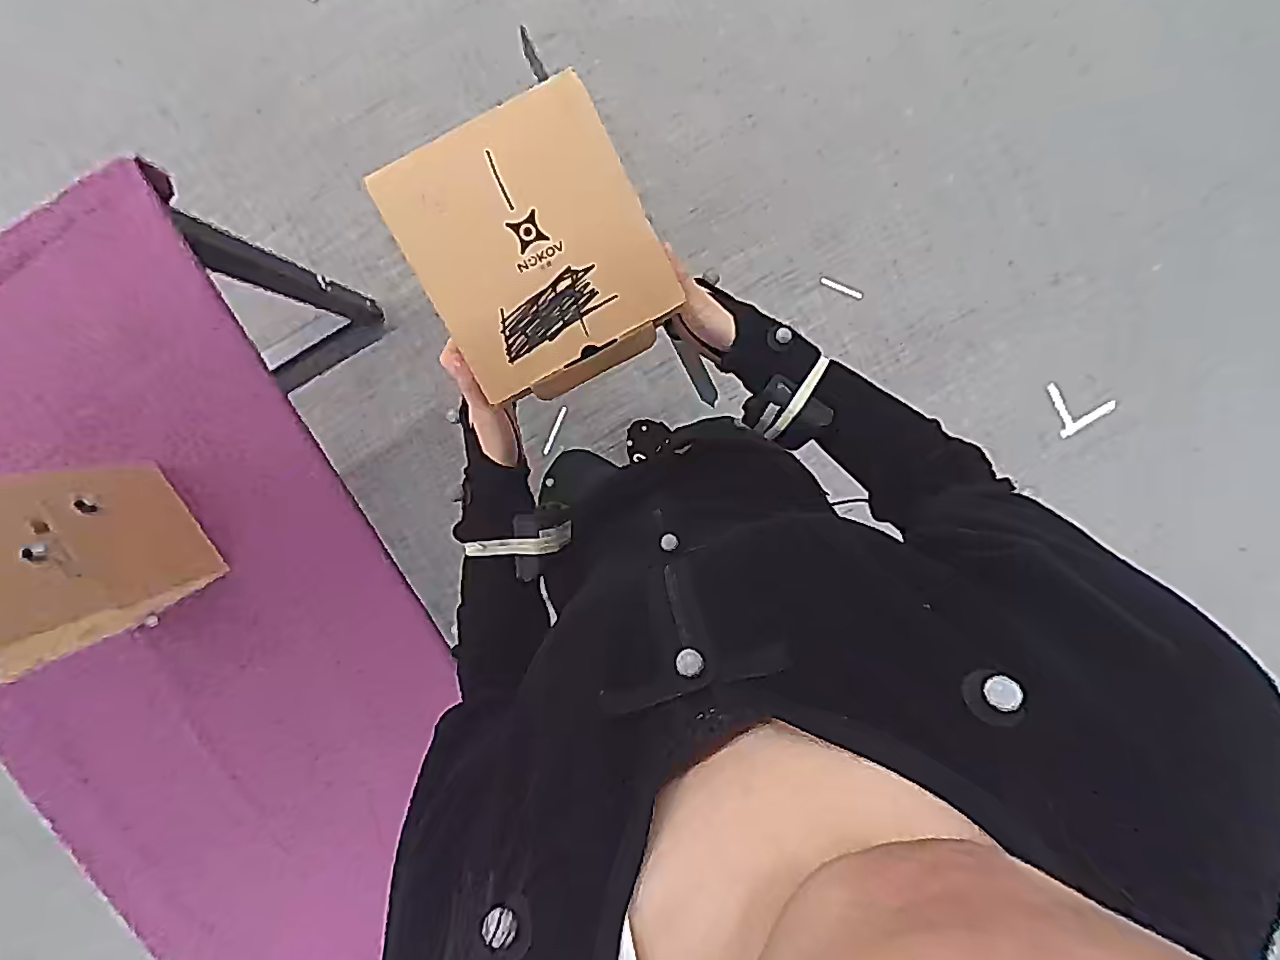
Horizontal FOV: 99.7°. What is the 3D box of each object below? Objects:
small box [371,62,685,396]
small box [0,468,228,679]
[{"bbox_3d":[-0.080,-0.187,0.459,0.168,0.176,0.179,-27,101,0],"label":"small box"},{"bbox_3d":[-0.671,0.096,0.657,0.168,0.176,0.179,-31,97,3],"label":"small box"}]
